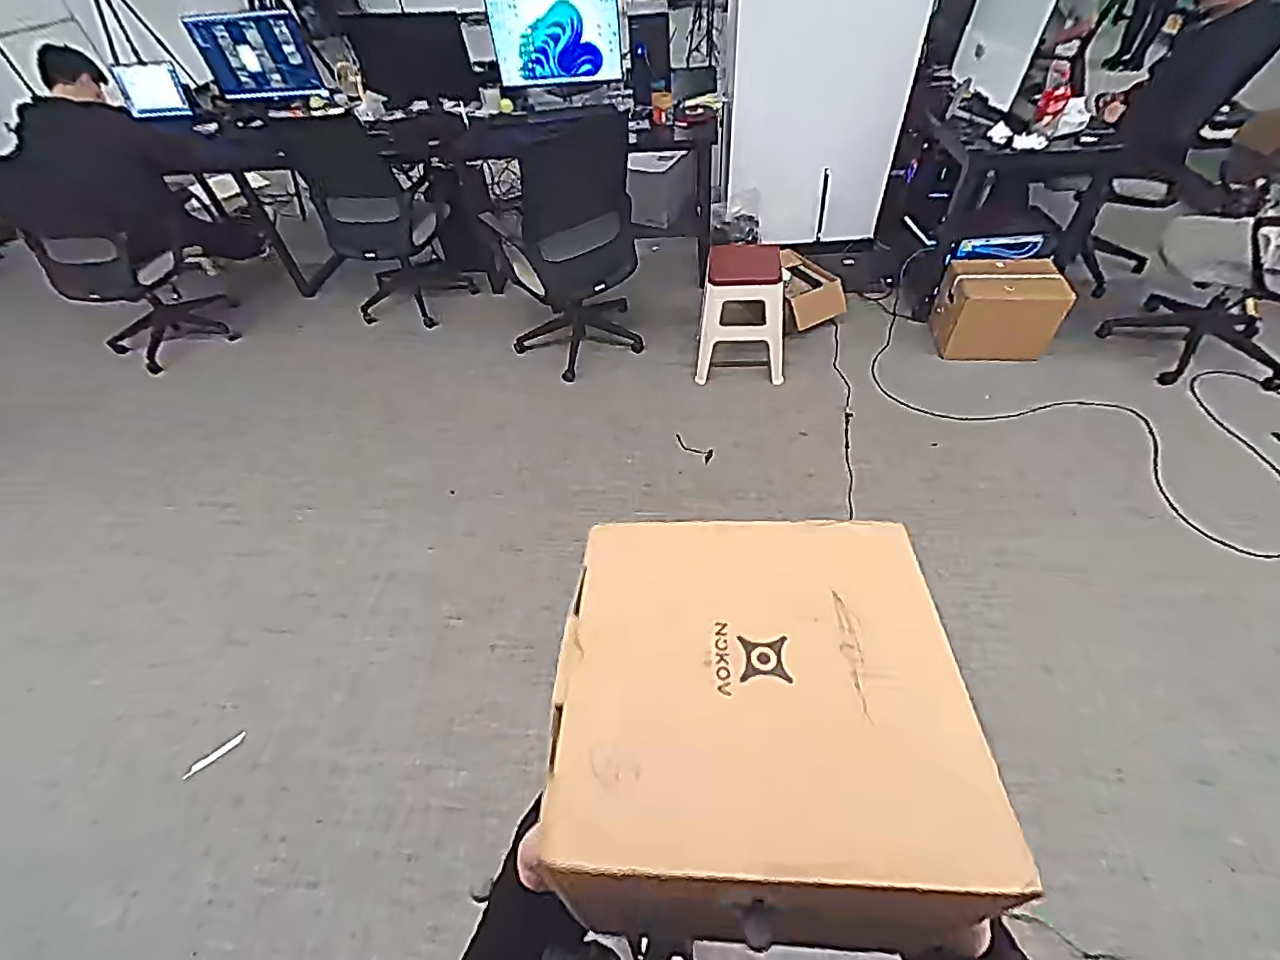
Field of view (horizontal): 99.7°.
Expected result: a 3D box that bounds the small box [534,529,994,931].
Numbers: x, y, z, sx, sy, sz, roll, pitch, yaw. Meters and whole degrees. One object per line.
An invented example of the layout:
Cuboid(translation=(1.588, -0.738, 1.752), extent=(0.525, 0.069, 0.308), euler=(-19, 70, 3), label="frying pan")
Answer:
Cuboid(translation=(0.053, 0.145, 0.314), extent=(0.179, 0.176, 0.168), euler=(-1, 45, 4), label="small box")
